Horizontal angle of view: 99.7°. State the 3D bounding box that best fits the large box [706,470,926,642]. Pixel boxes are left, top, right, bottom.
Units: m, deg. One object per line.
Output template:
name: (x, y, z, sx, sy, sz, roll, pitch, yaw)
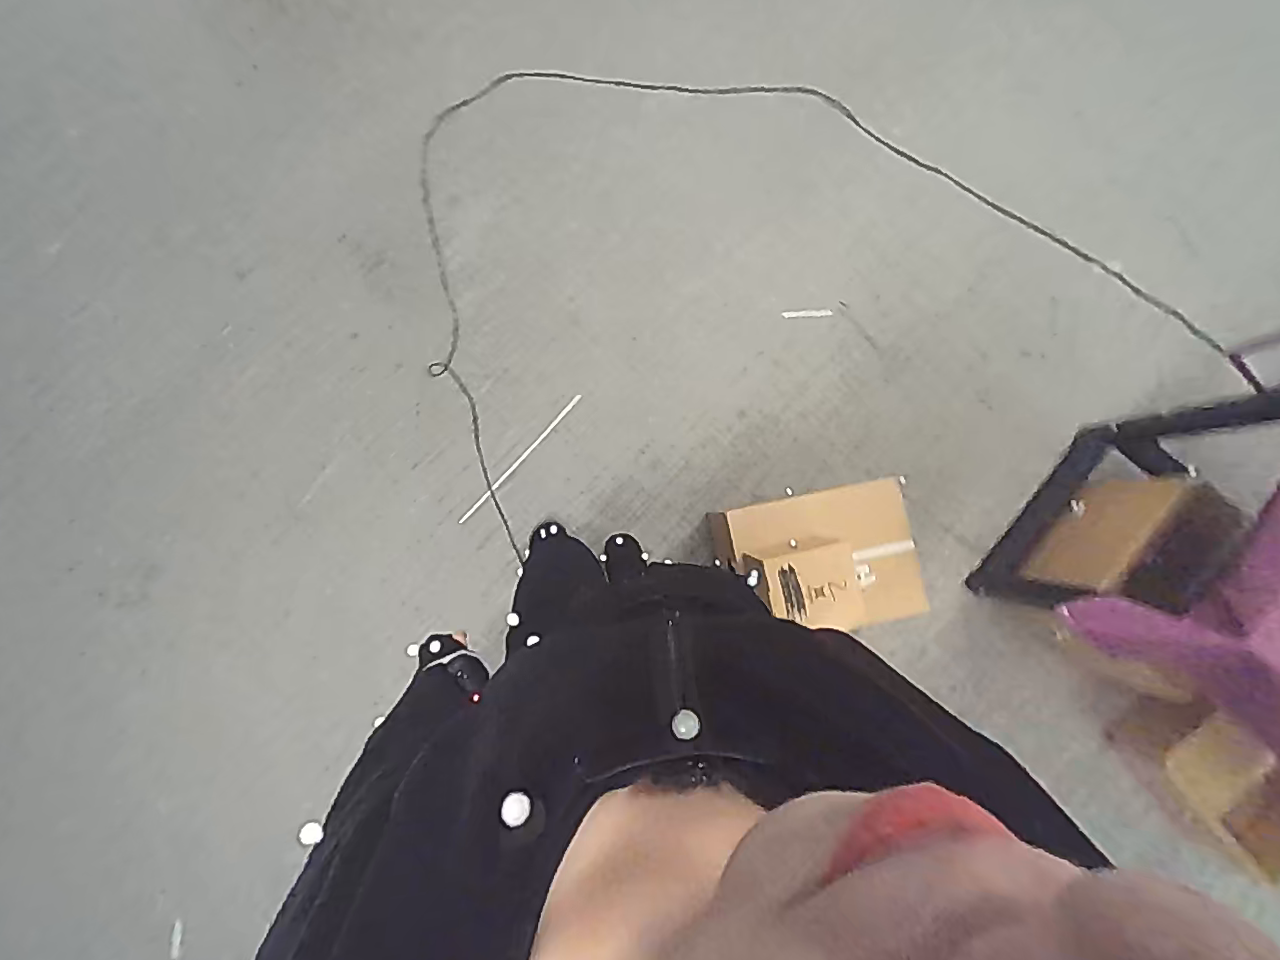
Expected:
large box: (0.410, 0.179, 1.356, 0.408, 0.320, 0.320, -12, 88, -2)
